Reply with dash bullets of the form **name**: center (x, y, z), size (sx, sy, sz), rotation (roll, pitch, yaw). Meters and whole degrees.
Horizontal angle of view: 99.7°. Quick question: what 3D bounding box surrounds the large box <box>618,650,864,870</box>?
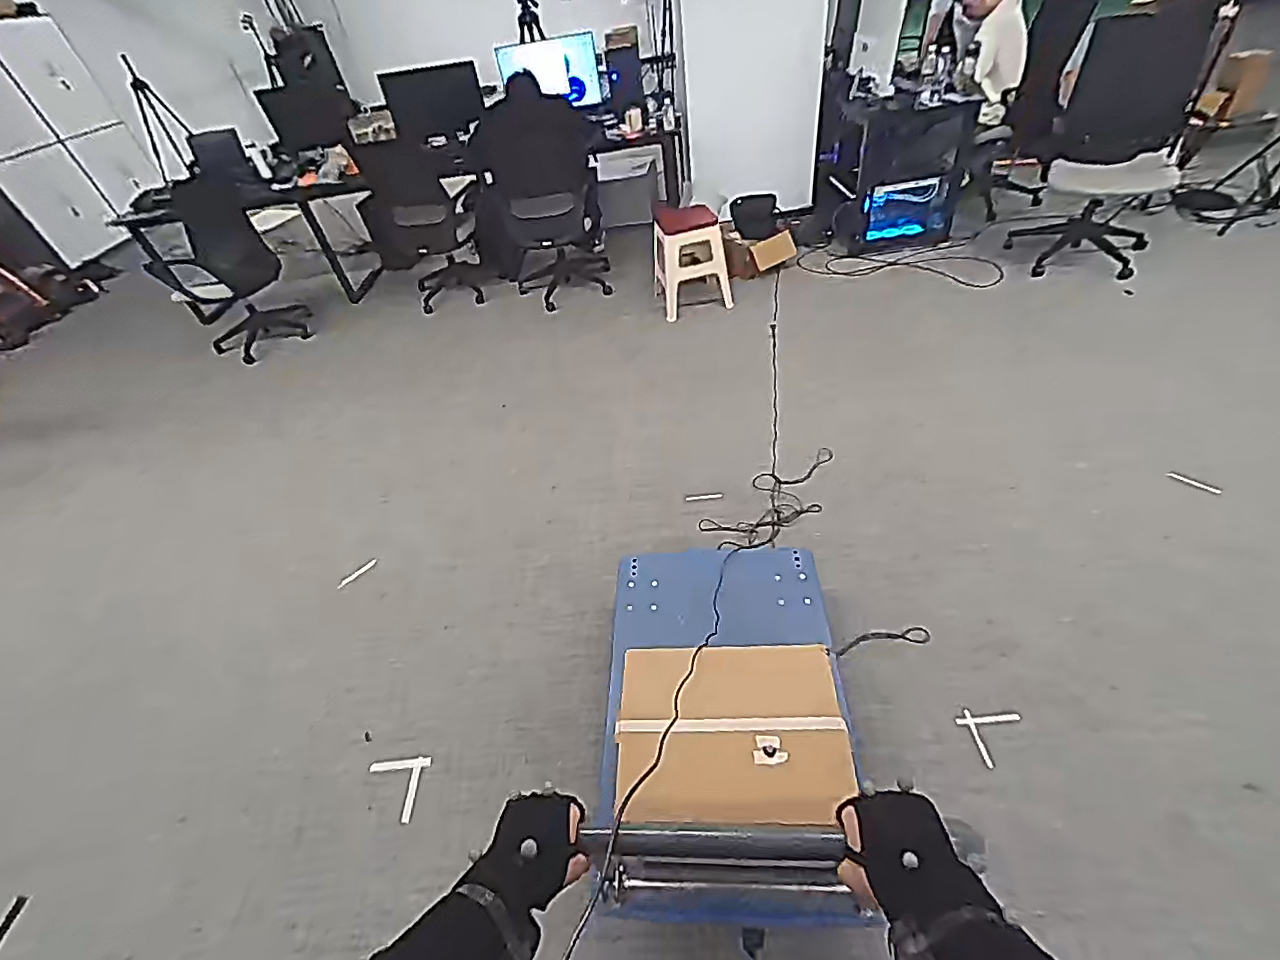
- **large box**: center (0.179, 0.560, 1.079), size (0.408, 0.320, 0.320), rotation (-3, 45, 6)
